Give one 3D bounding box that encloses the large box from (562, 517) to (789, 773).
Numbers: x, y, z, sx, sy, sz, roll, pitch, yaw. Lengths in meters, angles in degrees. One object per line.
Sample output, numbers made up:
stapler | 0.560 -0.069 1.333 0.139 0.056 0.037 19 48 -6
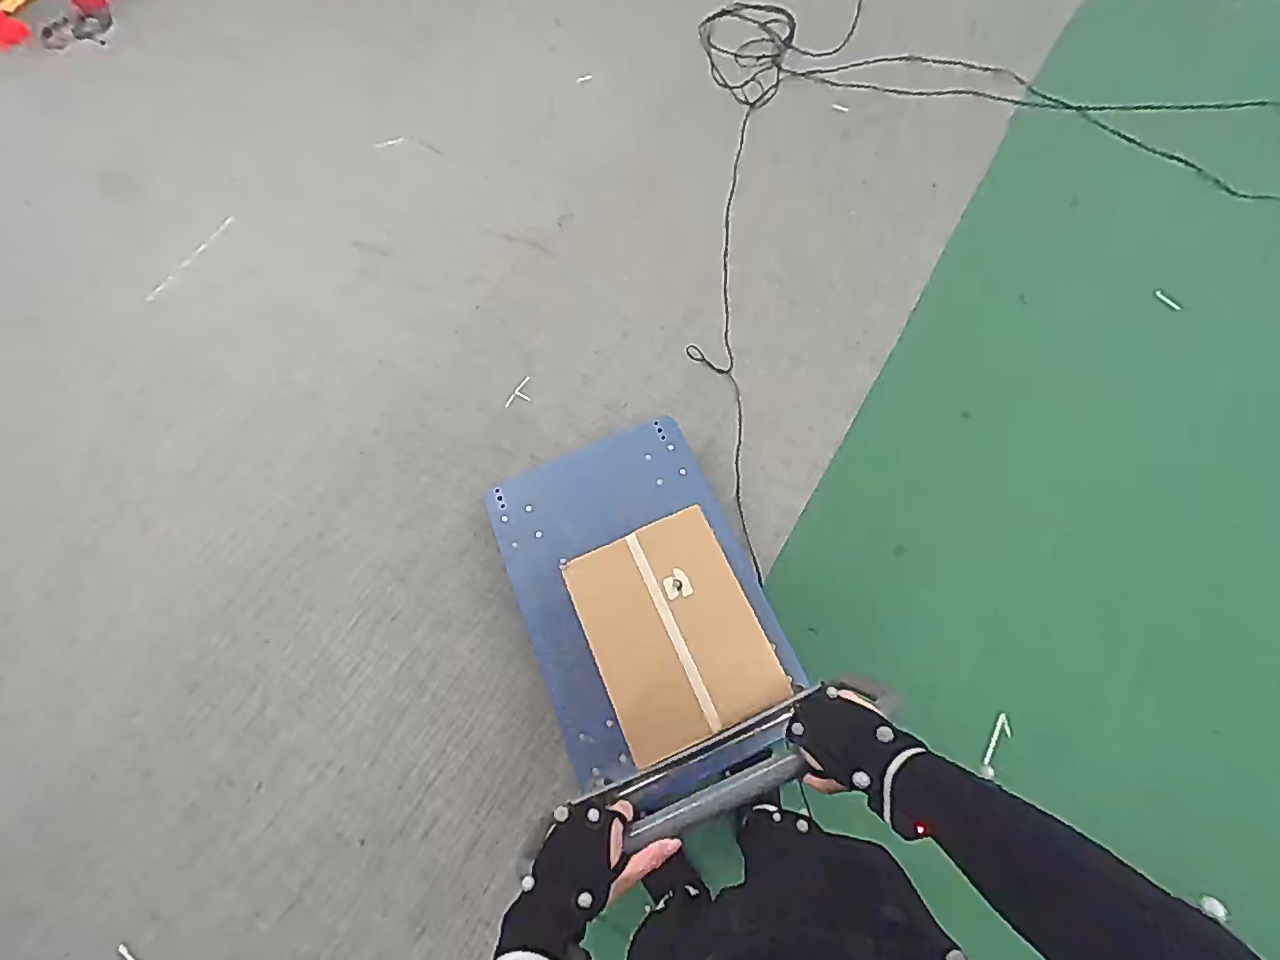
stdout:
large box | 0.073 0.358 1.187 0.320 0.320 0.408 -24 67 -5
